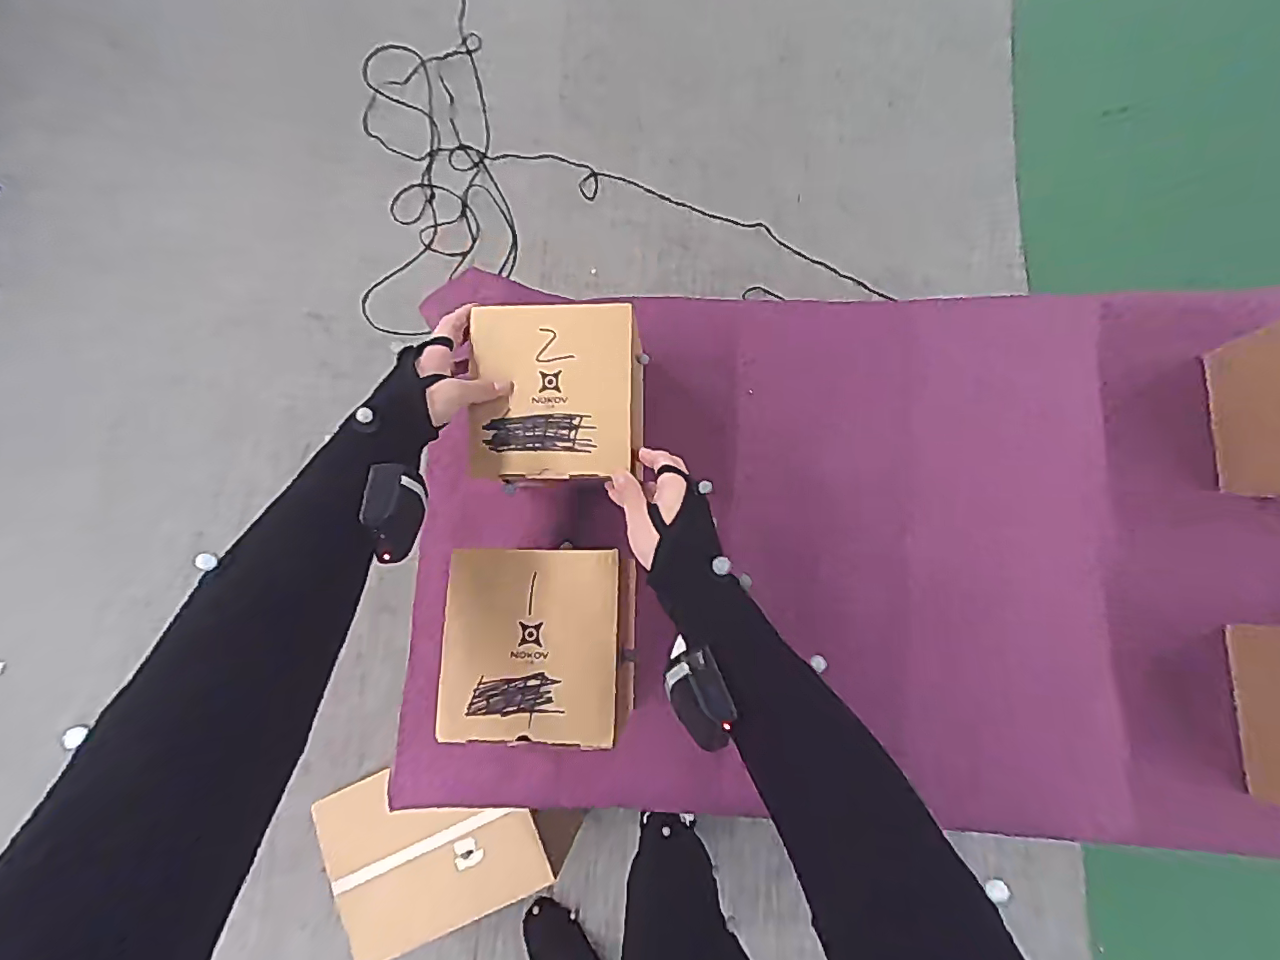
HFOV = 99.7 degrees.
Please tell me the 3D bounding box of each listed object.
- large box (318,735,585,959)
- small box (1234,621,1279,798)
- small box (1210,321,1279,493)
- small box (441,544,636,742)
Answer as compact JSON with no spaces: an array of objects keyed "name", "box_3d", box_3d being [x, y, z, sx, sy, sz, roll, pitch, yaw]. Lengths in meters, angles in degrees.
[{"name":"large box","box_3d":[-0.379,0.709,1.169,0.408,0.320,0.320,-25,78,-2]},{"name":"small box","box_3d":[0.709,0.223,0.489,0.168,0.176,0.179,3,76,8]},{"name":"small box","box_3d":[0.745,-0.084,0.549,0.168,0.176,0.179,3,80,8]},{"name":"small box","box_3d":[-0.093,0.163,0.578,0.168,0.176,0.179,-1,77,4]}]
